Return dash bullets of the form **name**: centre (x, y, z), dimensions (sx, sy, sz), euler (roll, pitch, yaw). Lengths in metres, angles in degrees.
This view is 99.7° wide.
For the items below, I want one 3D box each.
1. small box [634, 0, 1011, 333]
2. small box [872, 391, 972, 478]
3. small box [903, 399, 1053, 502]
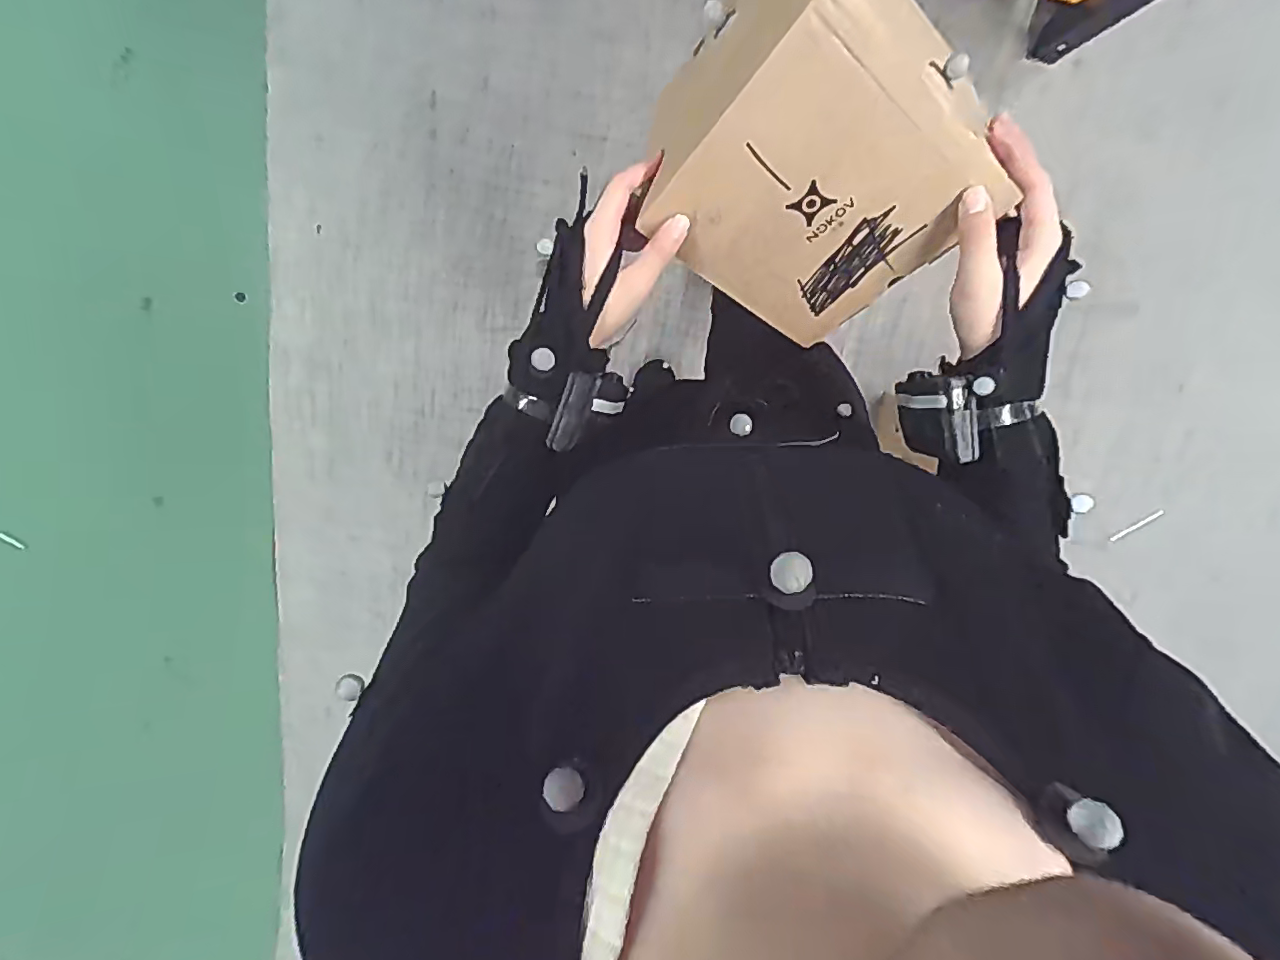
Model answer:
- **small box**: centre (0.118, -0.248, 0.384), dimensions (0.179, 0.176, 0.168), euler (24, 145, -27)
- **small box**: centre (0.661, -0.105, 1.248), dimensions (0.168, 0.176, 0.179), euler (6, 107, -1)
- **small box**: centre (0.667, -0.066, 1.089), dimensions (0.179, 0.176, 0.168), euler (5, 106, 0)
